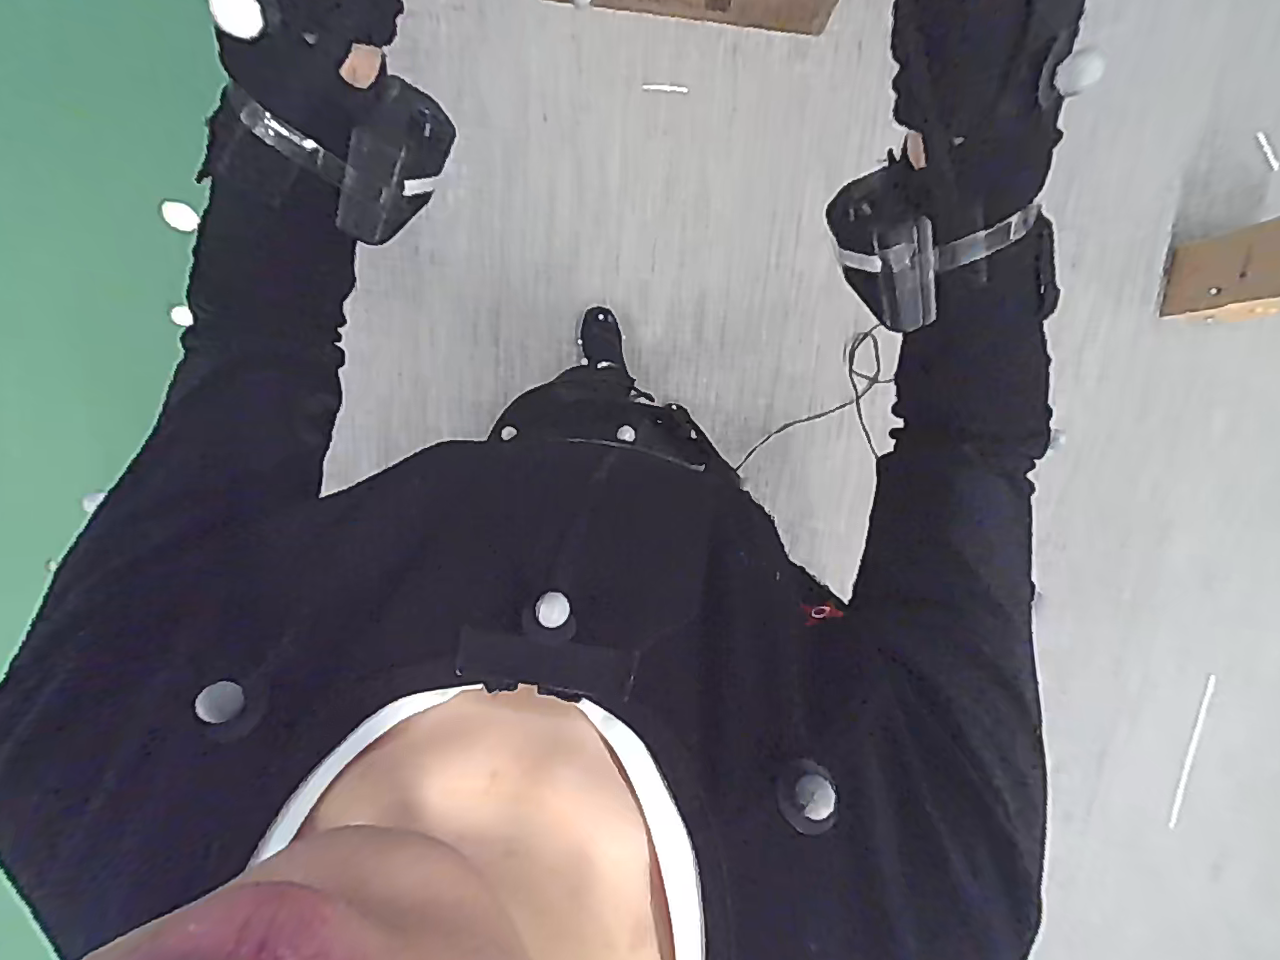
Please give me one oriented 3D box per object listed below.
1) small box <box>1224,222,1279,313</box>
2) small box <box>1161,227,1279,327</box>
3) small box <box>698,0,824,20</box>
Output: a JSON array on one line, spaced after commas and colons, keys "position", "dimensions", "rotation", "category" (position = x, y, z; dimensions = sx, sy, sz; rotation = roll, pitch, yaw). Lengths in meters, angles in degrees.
[{"position": [1.355, -0.431, 1.079], "dimensions": [0.179, 0.176, 0.168], "rotation": [5, 100, 1], "category": "small box"}, {"position": [1.364, -0.458, 1.241], "dimensions": [0.168, 0.176, 0.179], "rotation": [5, 100, 2], "category": "small box"}, {"position": [0.030, -0.332, 0.212], "dimensions": [0.168, 0.176, 0.179], "rotation": [9, 103, 1], "category": "small box"}]
